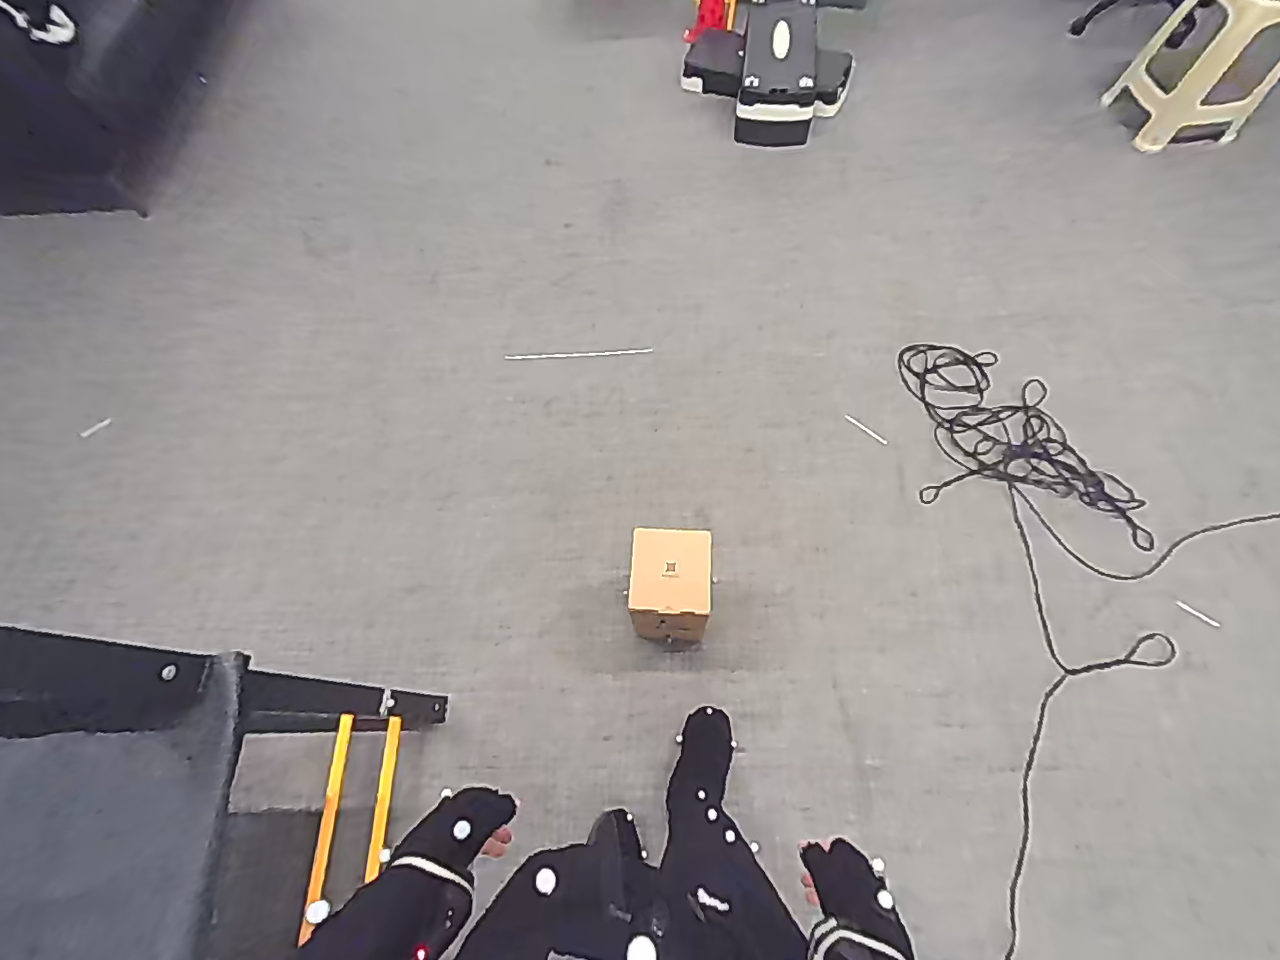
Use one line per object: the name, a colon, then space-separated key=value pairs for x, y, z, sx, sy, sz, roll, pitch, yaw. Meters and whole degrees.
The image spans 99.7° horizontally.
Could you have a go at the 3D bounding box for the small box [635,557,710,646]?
small box: x=0.082 y=0.302 z=1.329 sx=0.168 sy=0.176 sz=0.179 roll=3 pitch=66 yaw=6
